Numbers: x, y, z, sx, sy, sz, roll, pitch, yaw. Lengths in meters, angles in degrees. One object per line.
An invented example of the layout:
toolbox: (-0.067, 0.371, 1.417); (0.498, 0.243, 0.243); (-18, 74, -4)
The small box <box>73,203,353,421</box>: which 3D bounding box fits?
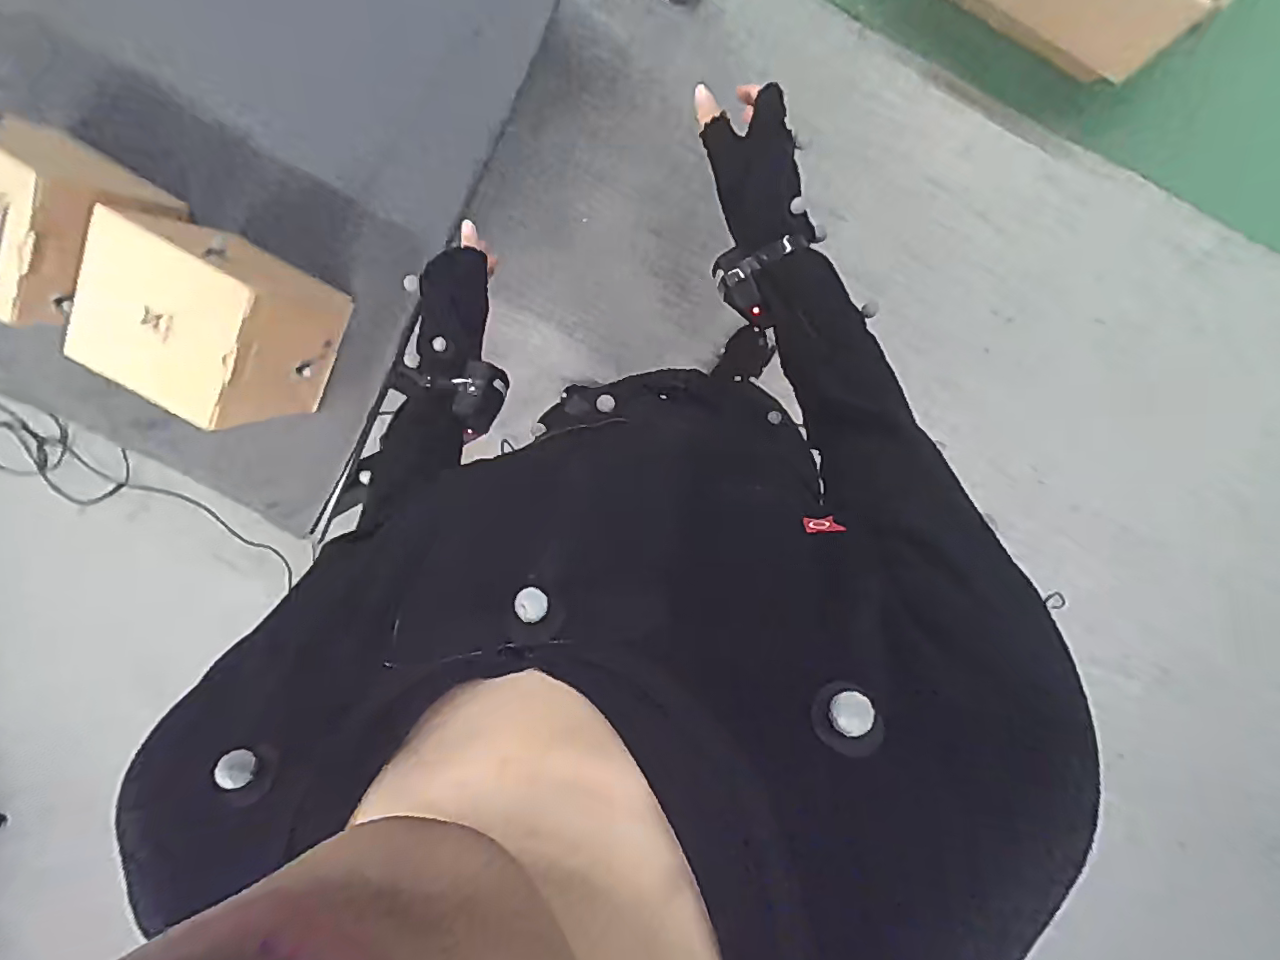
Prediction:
small box: (-0.488, -0.188, 0.639); (0.179, 0.176, 0.168); (28, 105, -2)
